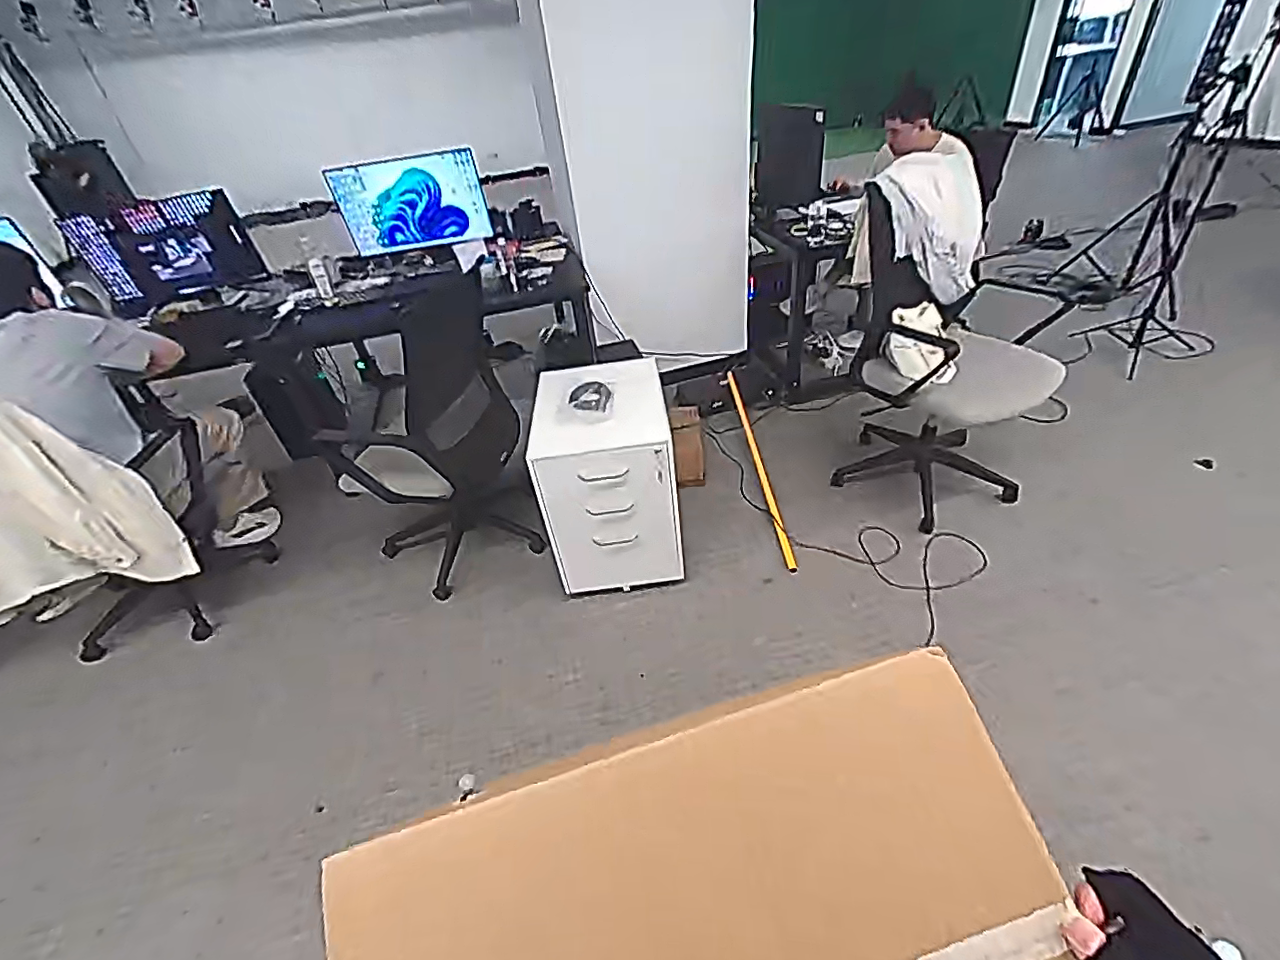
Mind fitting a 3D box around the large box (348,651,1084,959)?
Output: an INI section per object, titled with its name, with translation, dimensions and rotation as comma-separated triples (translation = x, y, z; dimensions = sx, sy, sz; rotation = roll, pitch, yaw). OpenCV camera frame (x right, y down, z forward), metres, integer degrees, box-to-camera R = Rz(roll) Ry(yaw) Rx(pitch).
[large box]
translation = 0.057, 0.367, 0.430
dimensions = 0.408, 0.320, 0.320
rotation = -17, 69, -6
